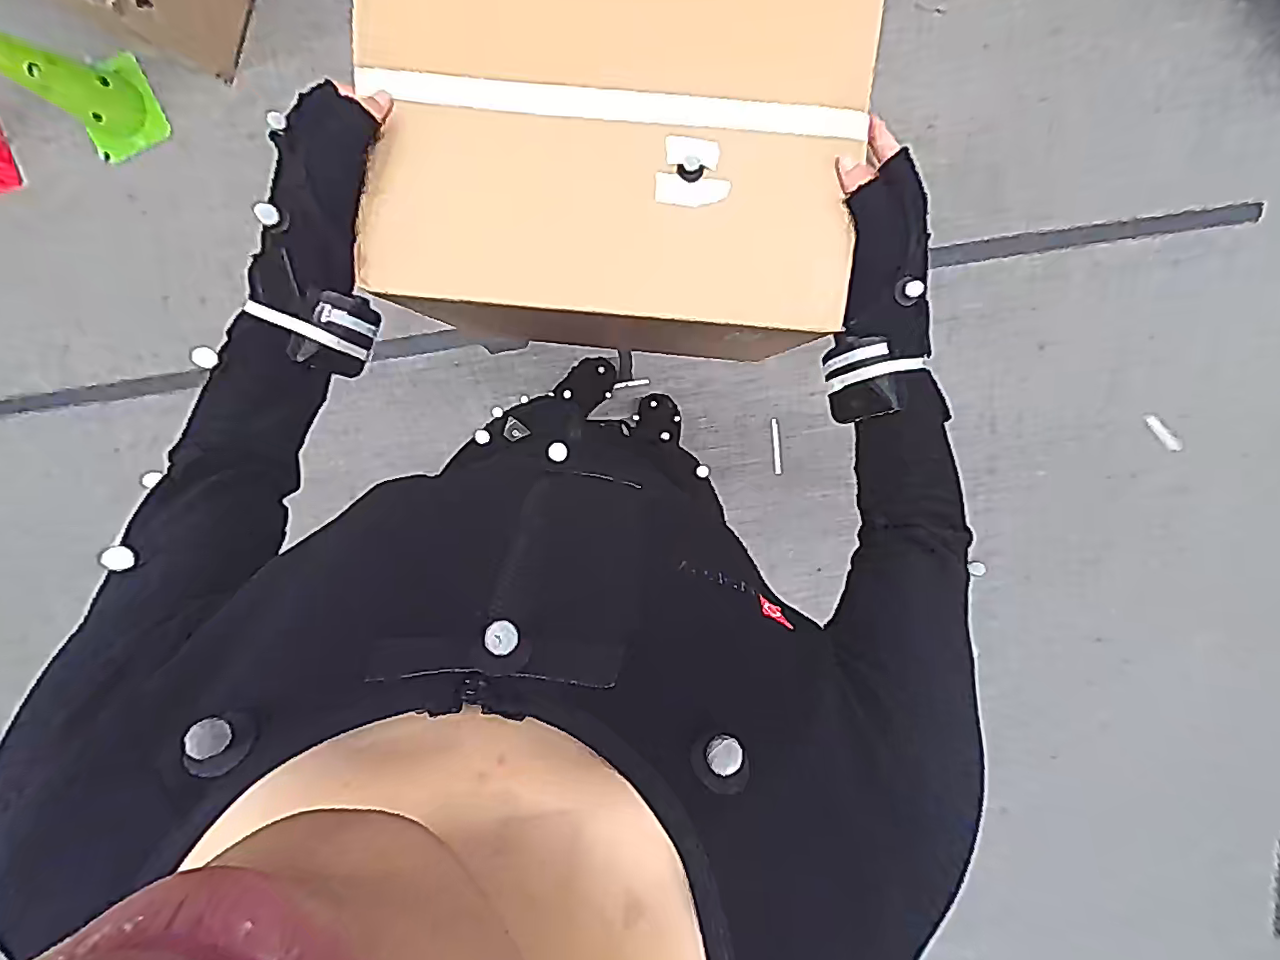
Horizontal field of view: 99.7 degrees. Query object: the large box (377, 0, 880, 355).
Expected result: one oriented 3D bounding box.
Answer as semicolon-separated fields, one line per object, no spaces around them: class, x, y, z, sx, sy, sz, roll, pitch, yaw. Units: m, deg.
large box;-0.015;-0.322;0.589;0.408;0.320;0.320;6;98;-1
